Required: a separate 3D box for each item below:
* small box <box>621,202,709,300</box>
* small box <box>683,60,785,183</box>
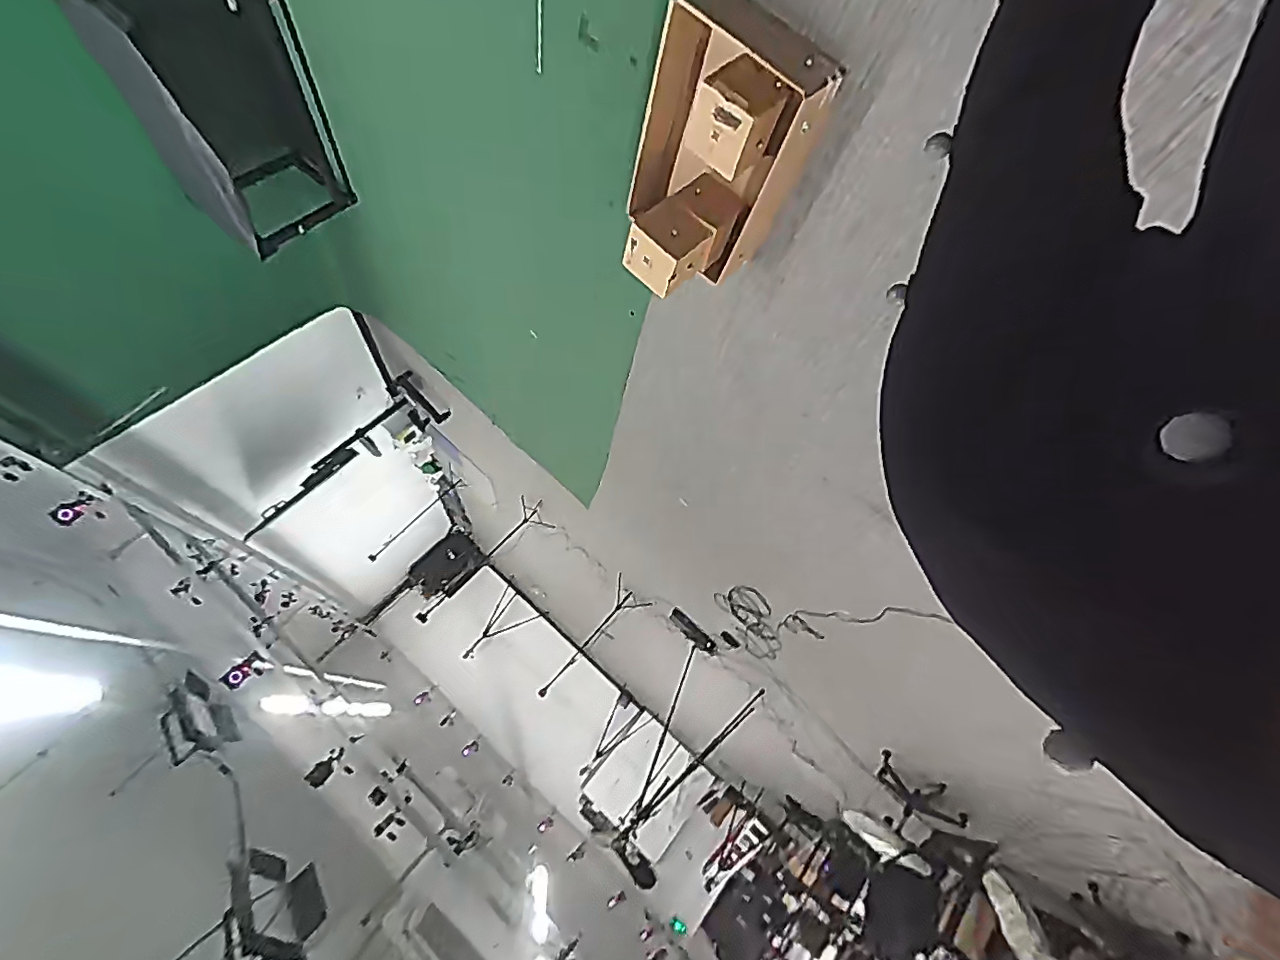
[{"bbox_3d":[0.075,-0.678,1.594,0.179,0.176,0.168,41,156,4],"label":"small box"},{"bbox_3d":[0.240,-0.908,1.366,0.168,0.176,0.179,41,157,6],"label":"small box"}]
